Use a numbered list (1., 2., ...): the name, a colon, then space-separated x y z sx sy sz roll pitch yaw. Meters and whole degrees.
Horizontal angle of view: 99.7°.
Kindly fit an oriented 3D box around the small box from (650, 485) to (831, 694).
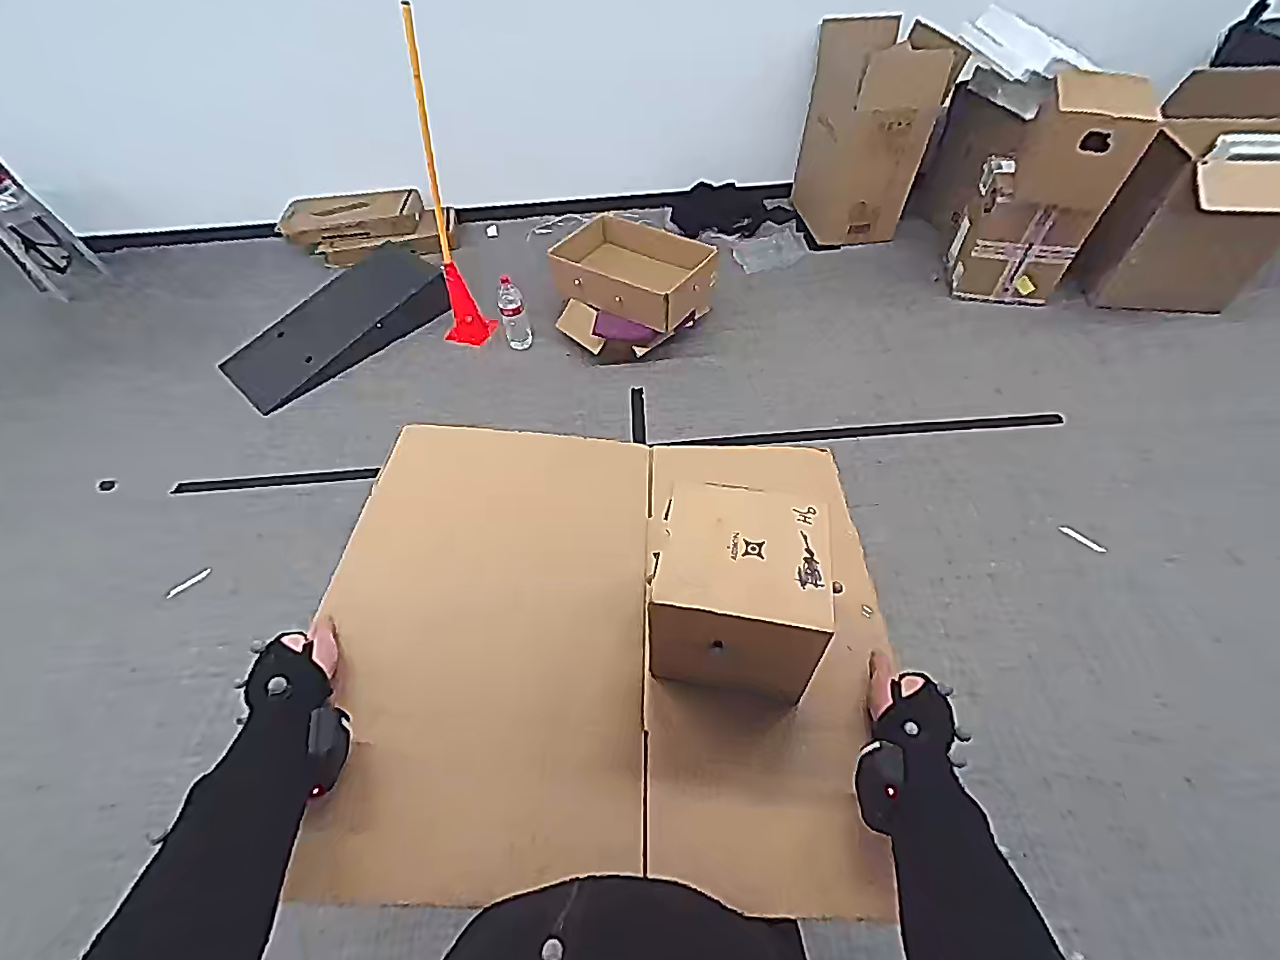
1. small box: 0.113 0.129 0.627 0.179 0.176 0.168 7 48 9
